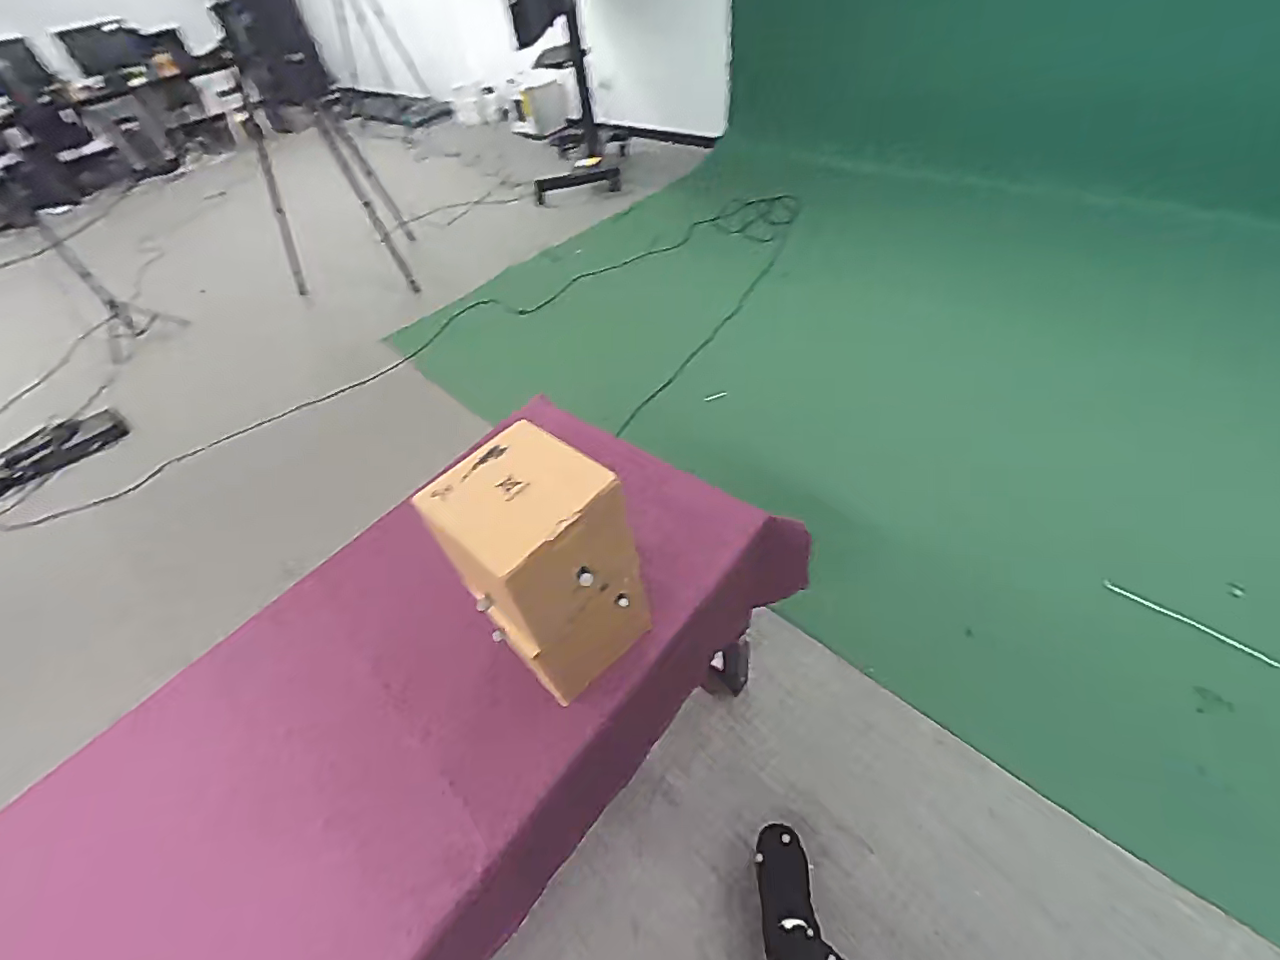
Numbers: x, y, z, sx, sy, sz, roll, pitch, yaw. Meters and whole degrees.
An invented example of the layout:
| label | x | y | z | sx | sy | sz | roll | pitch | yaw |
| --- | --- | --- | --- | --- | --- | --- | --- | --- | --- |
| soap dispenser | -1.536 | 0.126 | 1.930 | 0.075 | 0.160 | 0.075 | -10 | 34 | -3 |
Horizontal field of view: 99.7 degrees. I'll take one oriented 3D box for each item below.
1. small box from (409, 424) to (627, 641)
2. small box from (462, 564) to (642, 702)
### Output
| label | x | y | z | sx | sy | sz | roll | pitch | yaw |
| --- | --- | --- | --- | --- | --- | --- | --- | --- | --- |
| small box | -0.135 | 0.069 | 0.657 | 0.179 | 0.176 | 0.168 | 31 | 59 | 31 |
| small box | -0.115 | 0.180 | 0.776 | 0.179 | 0.176 | 0.168 | -38 | 53 | -23 |
